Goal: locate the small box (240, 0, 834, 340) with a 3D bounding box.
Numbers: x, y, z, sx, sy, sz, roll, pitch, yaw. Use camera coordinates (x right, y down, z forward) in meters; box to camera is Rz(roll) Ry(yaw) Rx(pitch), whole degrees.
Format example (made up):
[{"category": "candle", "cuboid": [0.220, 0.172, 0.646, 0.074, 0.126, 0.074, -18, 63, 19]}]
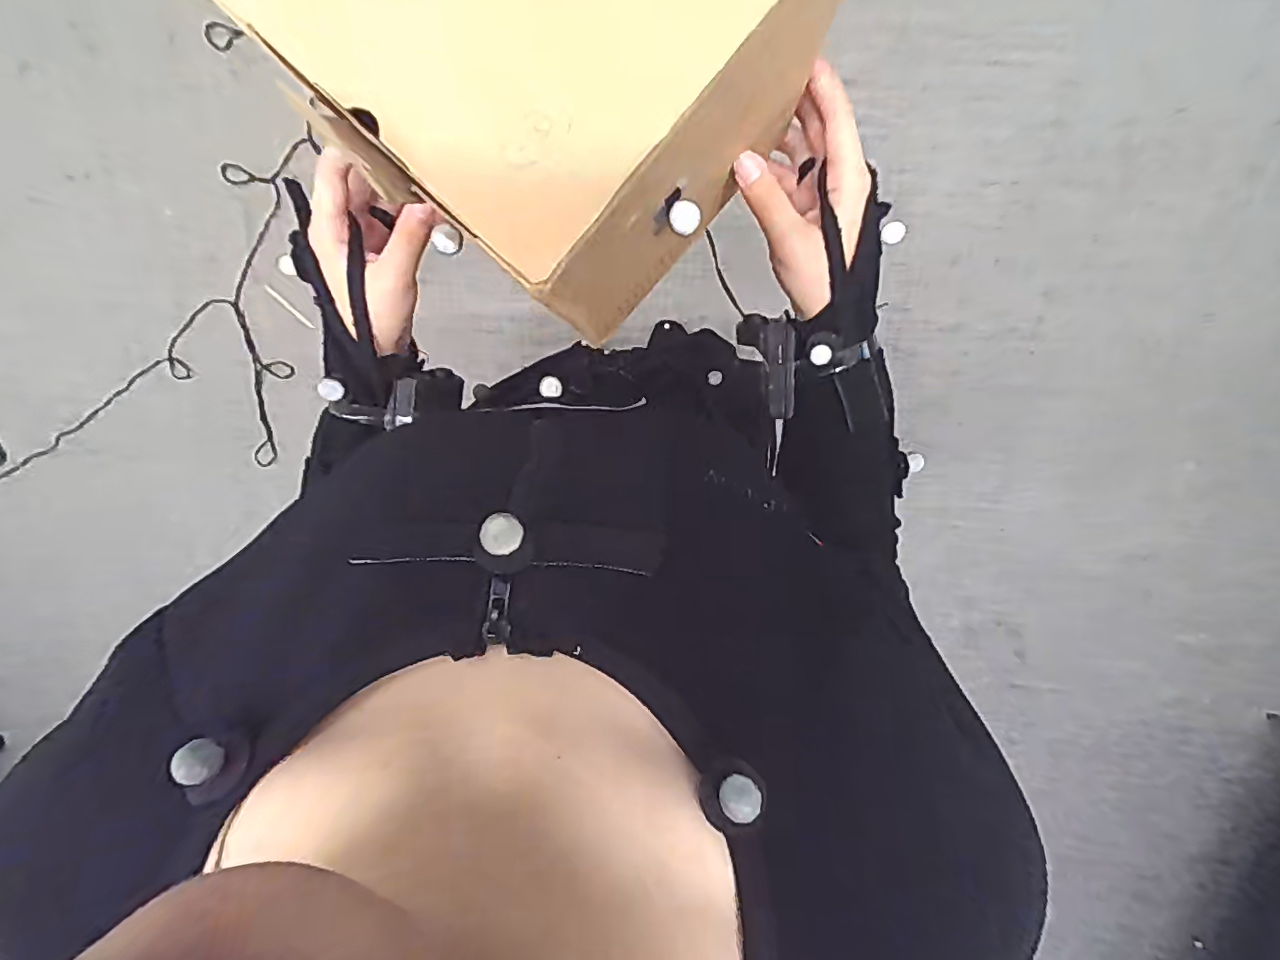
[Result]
[{"category": "small box", "cuboid": [-0.028, -0.192, 0.270, 0.168, 0.176, 0.179, 42, 98, -3]}]
